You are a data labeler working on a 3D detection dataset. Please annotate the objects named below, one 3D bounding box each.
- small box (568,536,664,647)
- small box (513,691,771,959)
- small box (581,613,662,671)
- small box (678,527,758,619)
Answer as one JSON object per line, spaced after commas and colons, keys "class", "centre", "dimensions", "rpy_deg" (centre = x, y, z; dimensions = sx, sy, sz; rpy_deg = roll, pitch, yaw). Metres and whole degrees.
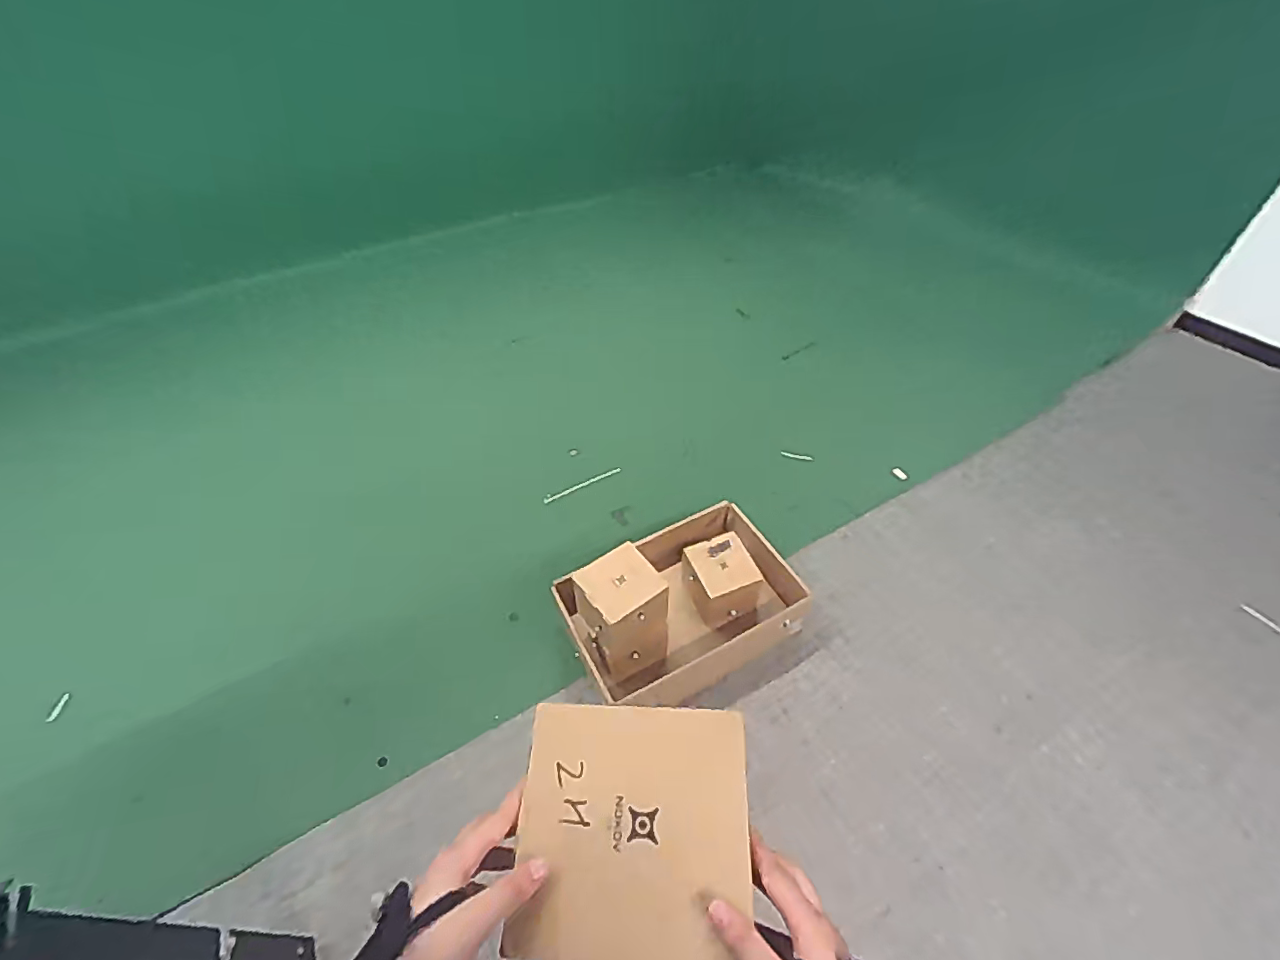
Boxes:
{"class": "small box", "centre": [-0.057, 0.280, 1.342], "dimensions": [0.179, 0.176, 0.168], "rpy_deg": [-29, 55, -25]}
{"class": "small box", "centre": [0.009, 0.292, 0.469], "dimensions": [0.179, 0.176, 0.168], "rpy_deg": [1, 56, 5]}
{"class": "small box", "centre": [-0.052, 0.388, 1.467], "dimensions": [0.179, 0.176, 0.168], "rpy_deg": [-22, 52, -17]}
{"class": "small box", "centre": [0.218, 0.272, 1.567], "dimensions": [0.168, 0.176, 0.179], "rpy_deg": [-18, 52, -13]}
